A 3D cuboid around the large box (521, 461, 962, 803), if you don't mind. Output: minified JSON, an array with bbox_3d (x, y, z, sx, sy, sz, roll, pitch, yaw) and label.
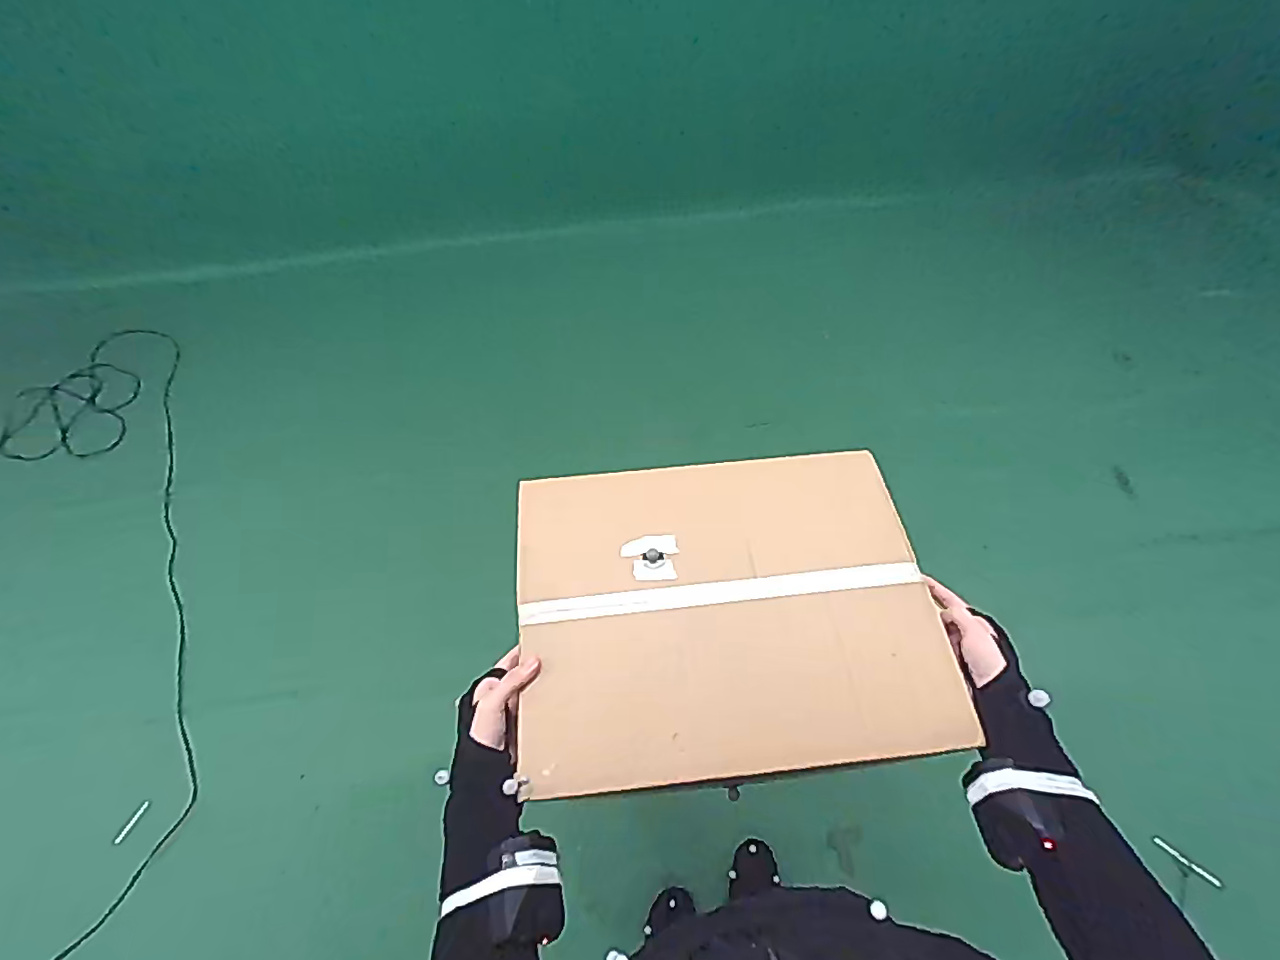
[{"bbox_3d":[0.083,0.204,0.678,0.408,0.320,0.320,-6,58,-2],"label":"large box"}]
